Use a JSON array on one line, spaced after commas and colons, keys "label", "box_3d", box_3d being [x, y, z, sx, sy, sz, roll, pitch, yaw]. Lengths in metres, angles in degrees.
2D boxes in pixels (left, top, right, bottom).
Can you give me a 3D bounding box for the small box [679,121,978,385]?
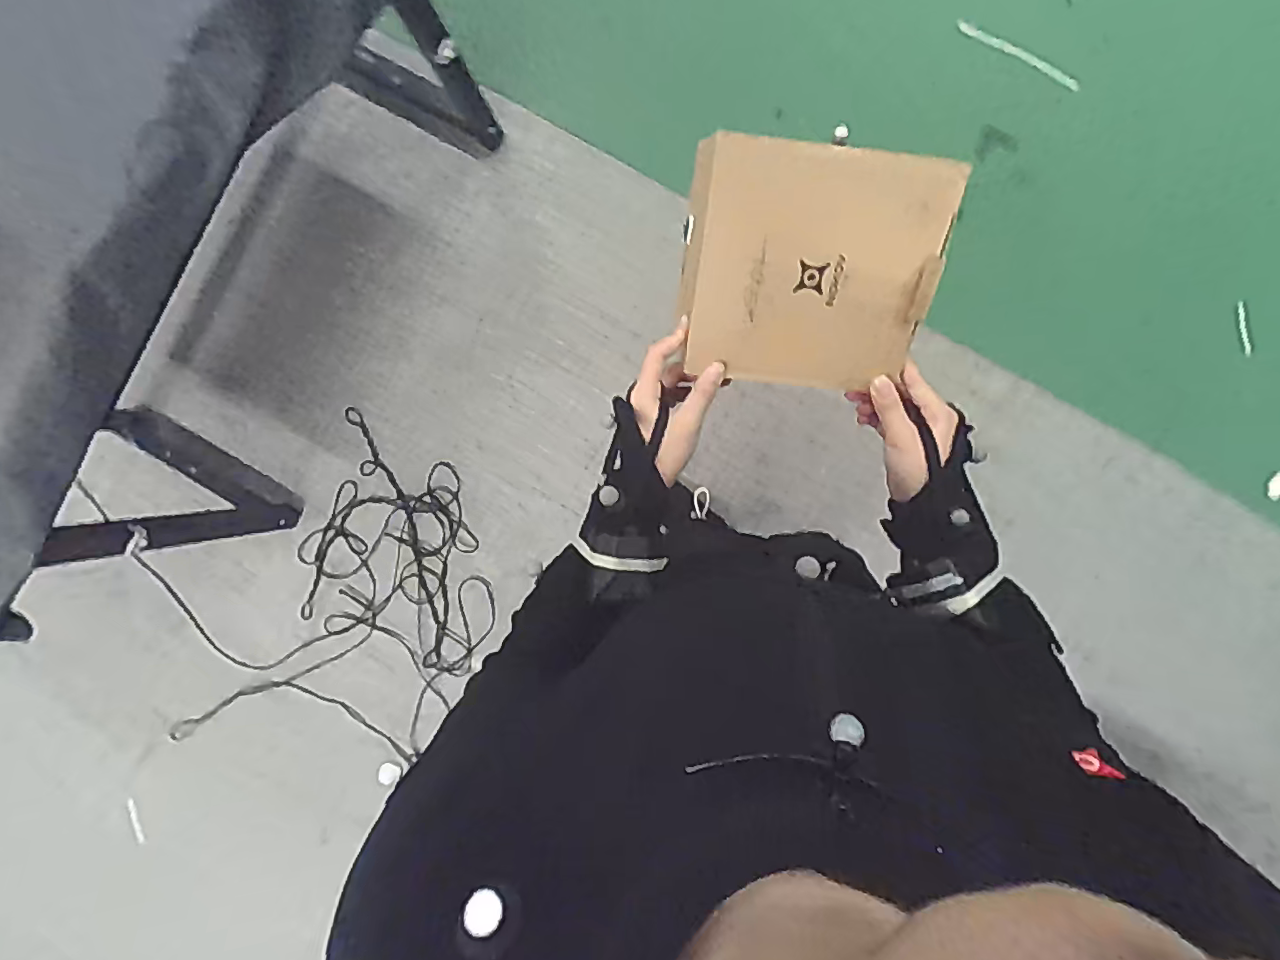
[{"label": "small box", "box_3d": [0.132, -0.193, 0.460, 0.179, 0.176, 0.168, 6, 119, -1]}]
